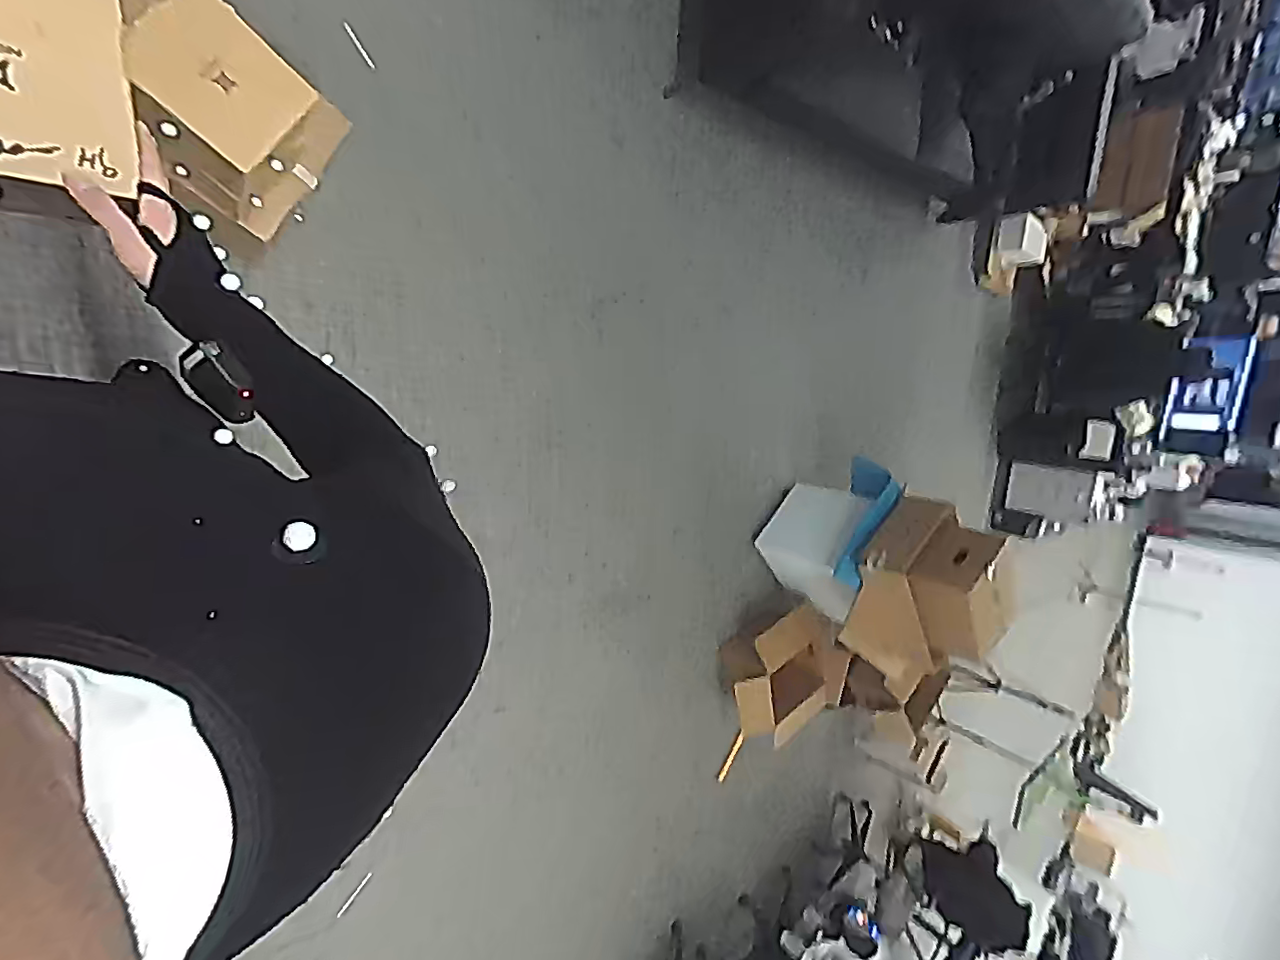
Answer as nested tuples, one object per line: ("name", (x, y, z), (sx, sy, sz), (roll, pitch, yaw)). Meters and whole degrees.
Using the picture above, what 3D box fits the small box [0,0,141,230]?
("small box", (-0.569, -0.345, 0.483), (0.168, 0.176, 0.179), (-8, 104, -41))

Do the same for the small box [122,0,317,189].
("small box", (-0.613, -0.558, 0.790), (0.179, 0.176, 0.168), (40, 76, -35))

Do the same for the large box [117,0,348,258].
("large box", (-0.878, -0.716, 1.072), (0.408, 0.320, 0.320), (36, 77, -37))
